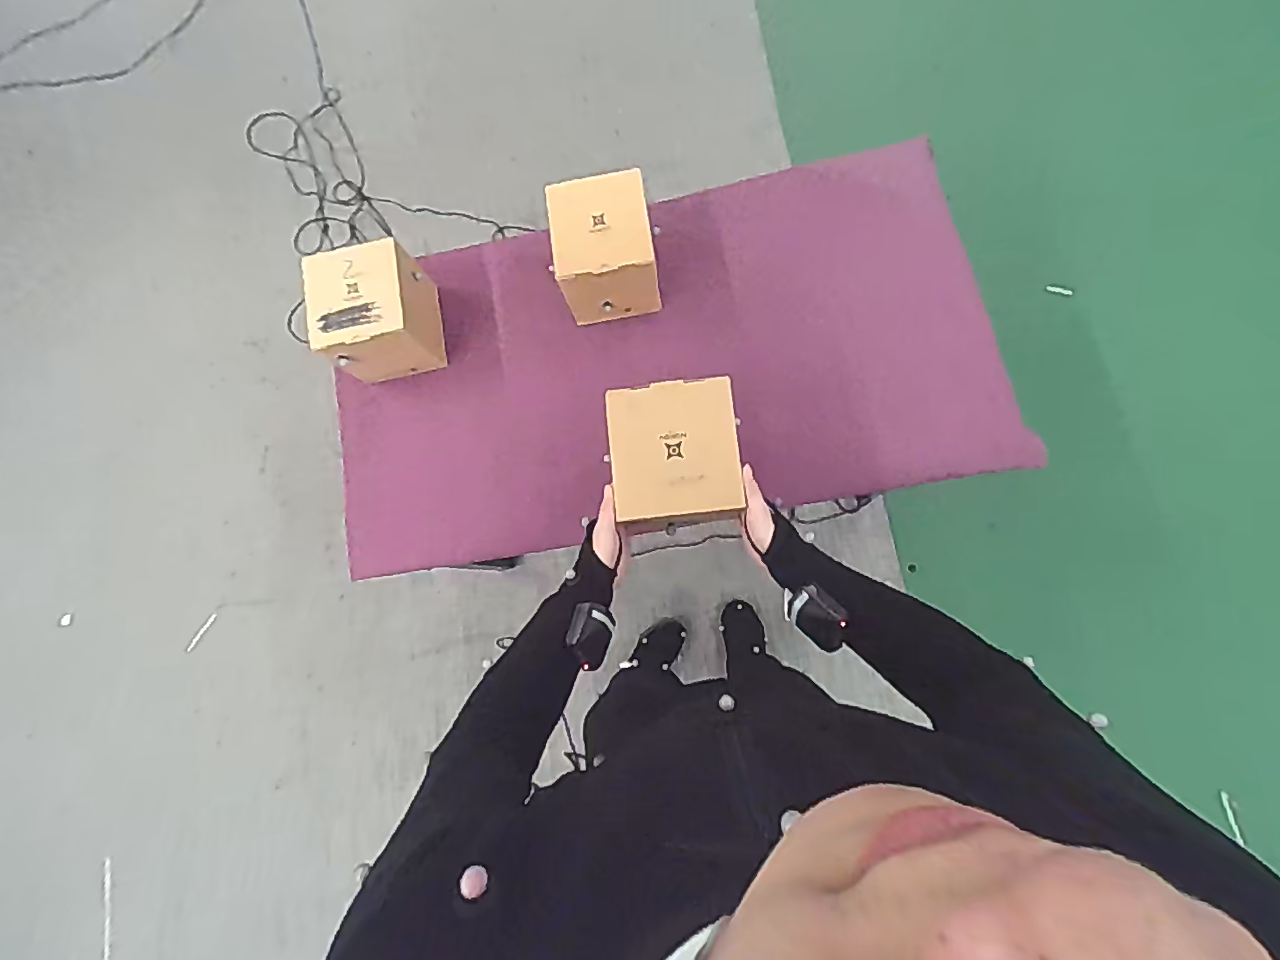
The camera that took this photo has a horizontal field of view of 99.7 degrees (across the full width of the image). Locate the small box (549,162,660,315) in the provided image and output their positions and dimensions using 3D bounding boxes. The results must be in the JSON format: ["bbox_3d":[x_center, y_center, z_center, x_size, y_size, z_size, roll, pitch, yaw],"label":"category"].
[{"bbox_3d":[-0.058,-0.425,0.975,0.168,0.176,0.179,-9,81,5],"label":"small box"}]

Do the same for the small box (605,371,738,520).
[{"bbox_3d":[0.046,-0.040,0.779,0.168,0.176,0.179,-5,82,6],"label":"small box"}]
